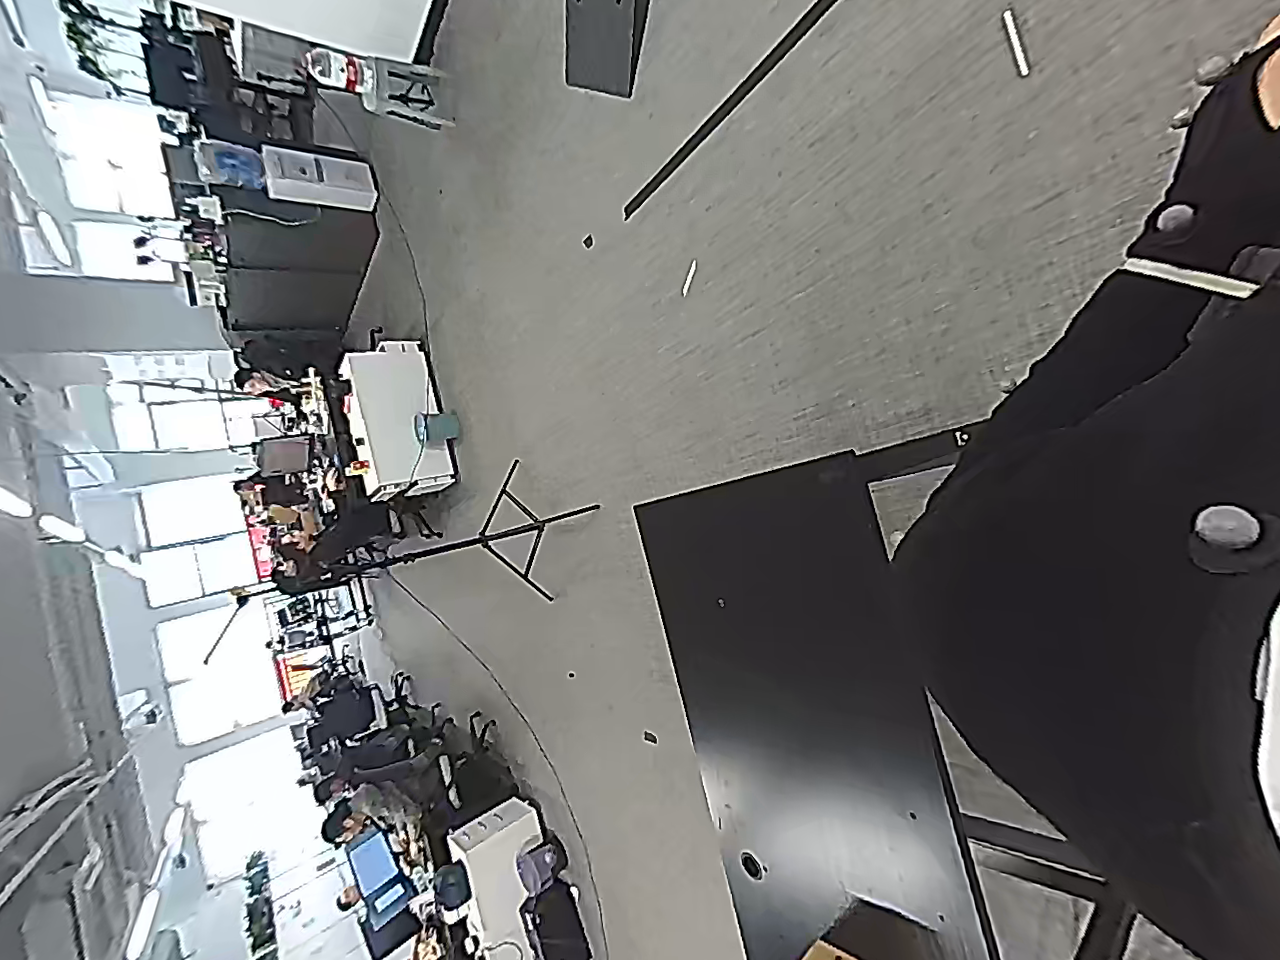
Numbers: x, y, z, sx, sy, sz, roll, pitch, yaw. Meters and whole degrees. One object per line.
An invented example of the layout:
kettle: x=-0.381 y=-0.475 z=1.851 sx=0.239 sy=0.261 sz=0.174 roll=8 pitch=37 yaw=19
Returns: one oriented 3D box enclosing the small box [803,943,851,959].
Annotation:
small box: x=0.363 y=1.000 z=0.971 sx=0.168 sy=0.176 sz=0.179 roll=-21 pitch=82 yaw=52
